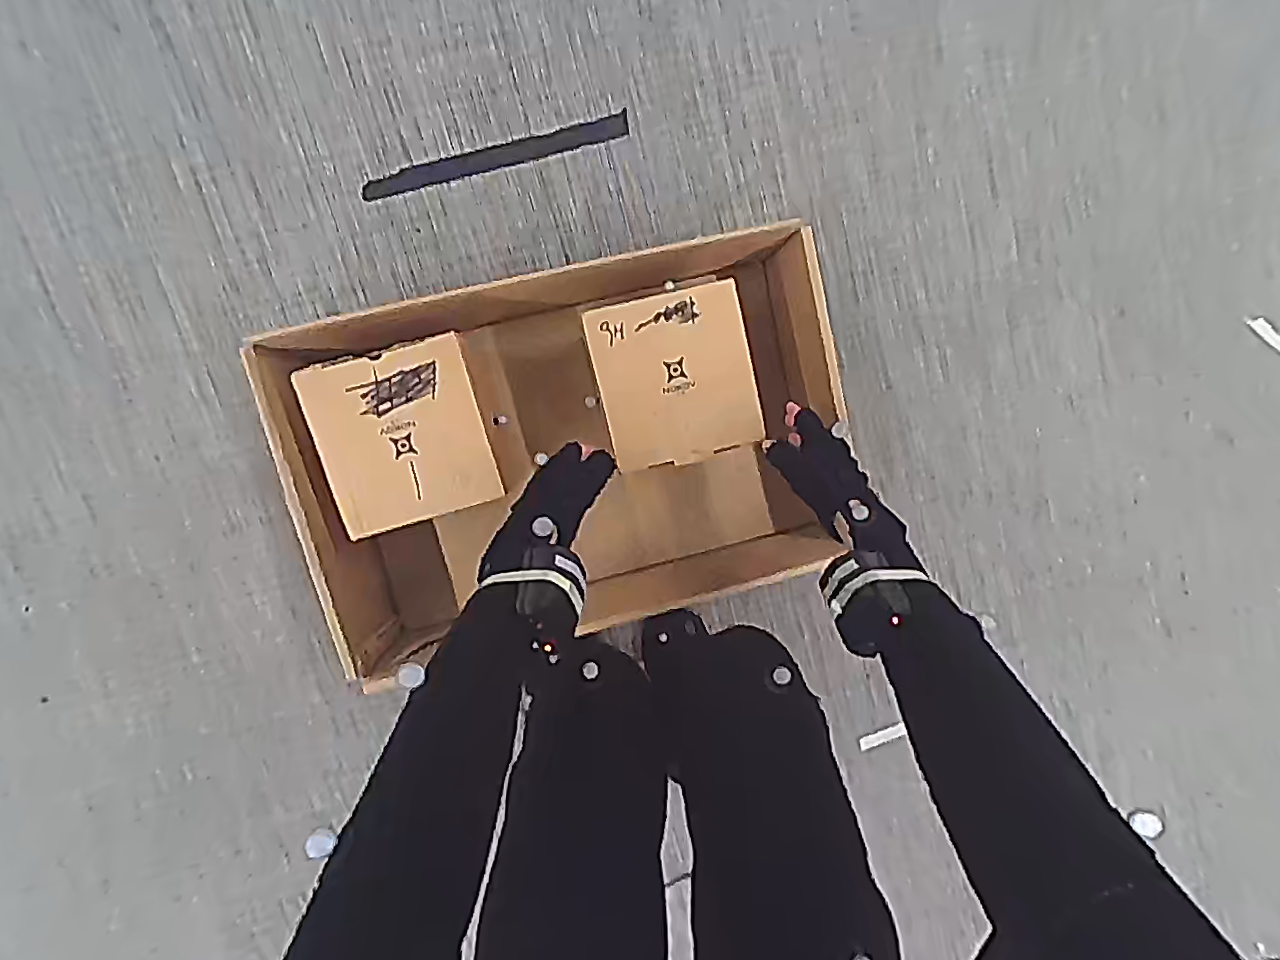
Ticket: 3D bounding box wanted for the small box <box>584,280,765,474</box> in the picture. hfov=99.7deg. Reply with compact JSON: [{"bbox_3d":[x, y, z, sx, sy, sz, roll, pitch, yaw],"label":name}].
[{"bbox_3d":[0.032,-0.118,0.645,0.168,0.176,0.179,-14,99,-4],"label":"small box"}]
